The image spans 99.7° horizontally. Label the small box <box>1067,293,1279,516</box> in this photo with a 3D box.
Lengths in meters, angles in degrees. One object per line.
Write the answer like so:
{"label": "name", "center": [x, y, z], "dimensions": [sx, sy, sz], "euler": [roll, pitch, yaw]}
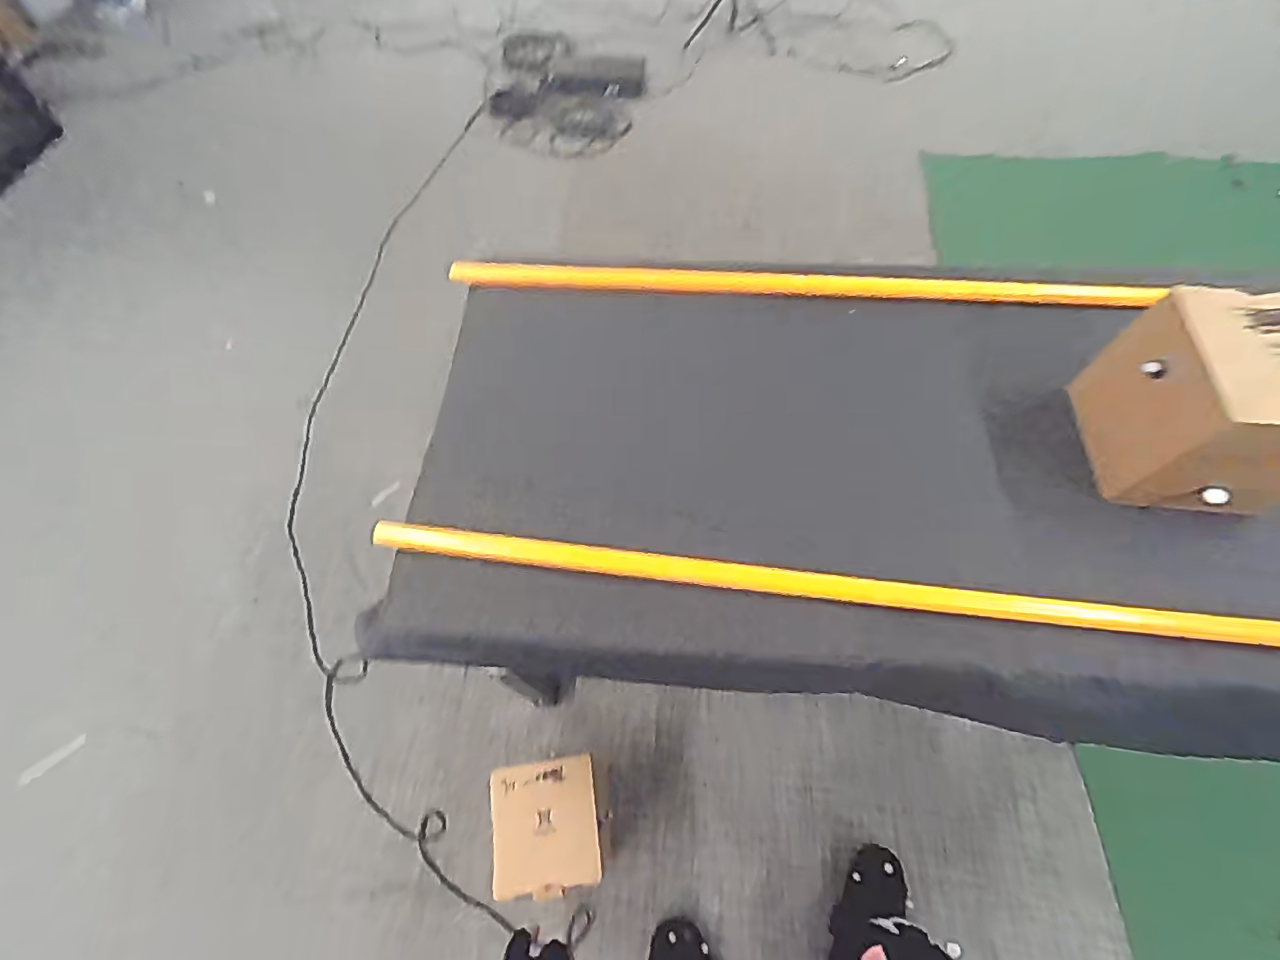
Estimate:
{"label": "small box", "center": [0.626, -0.080, 0.601], "dimensions": [0.168, 0.176, 0.179], "euler": [4, 61, 5]}

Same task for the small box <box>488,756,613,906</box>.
{"label": "small box", "center": [-0.146, 0.579, 0.912], "dimensions": [0.168, 0.176, 0.179], "euler": [-12, 60, -2]}
